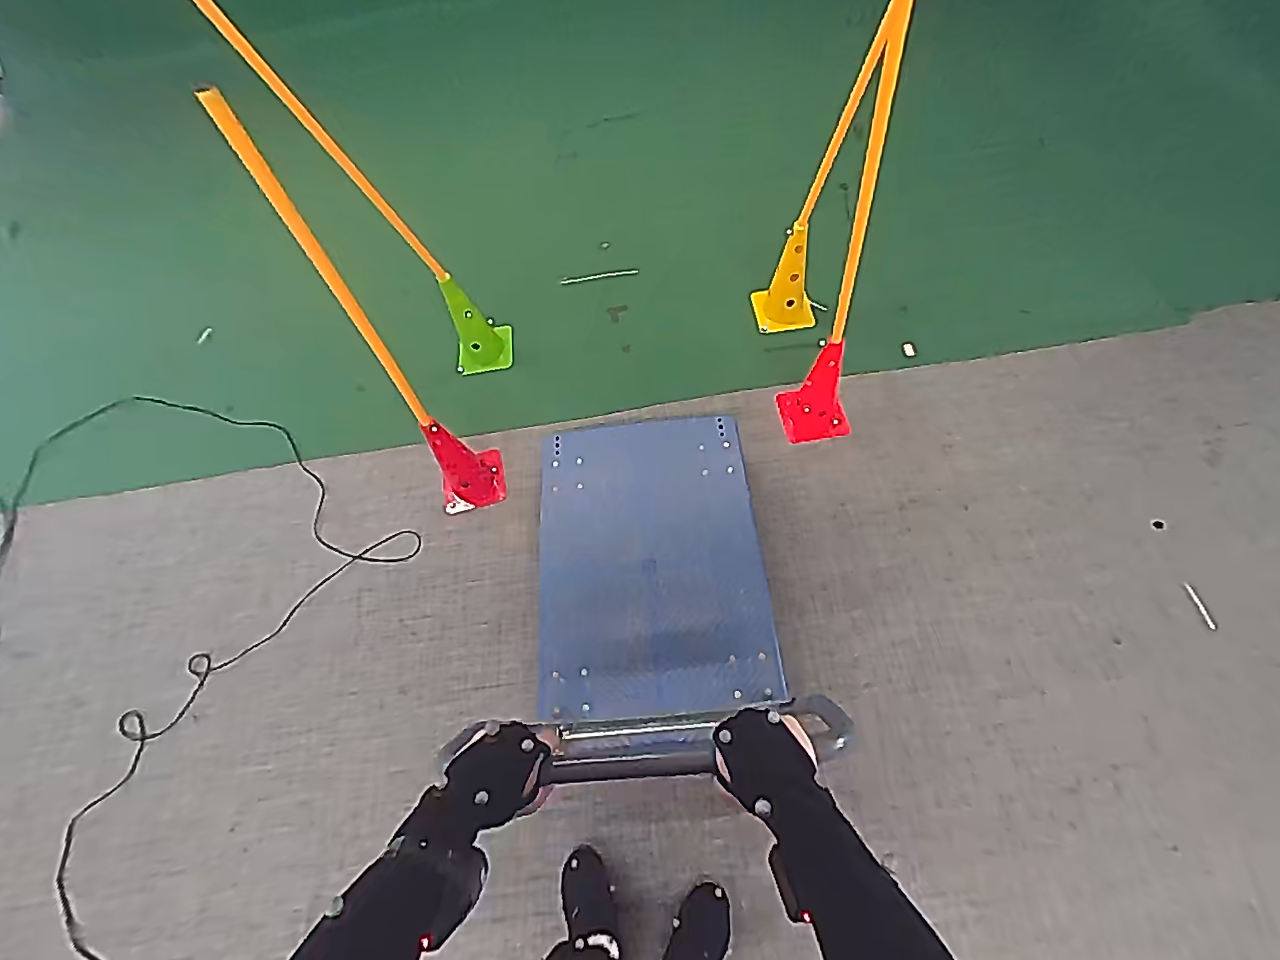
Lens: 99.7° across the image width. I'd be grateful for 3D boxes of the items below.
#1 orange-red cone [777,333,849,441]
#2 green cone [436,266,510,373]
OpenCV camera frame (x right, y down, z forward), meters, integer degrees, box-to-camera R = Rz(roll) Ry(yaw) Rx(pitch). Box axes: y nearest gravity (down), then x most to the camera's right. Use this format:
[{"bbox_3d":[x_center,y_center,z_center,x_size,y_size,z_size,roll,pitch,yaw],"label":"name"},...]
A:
[{"bbox_3d":[0.538,-0.295,1.585,0.198,0.360,0.199,-8,61,1],"label":"orange-red cone"},{"bbox_3d":[-0.594,-0.564,1.837,0.200,0.368,0.202,-9,61,2],"label":"green cone"}]
